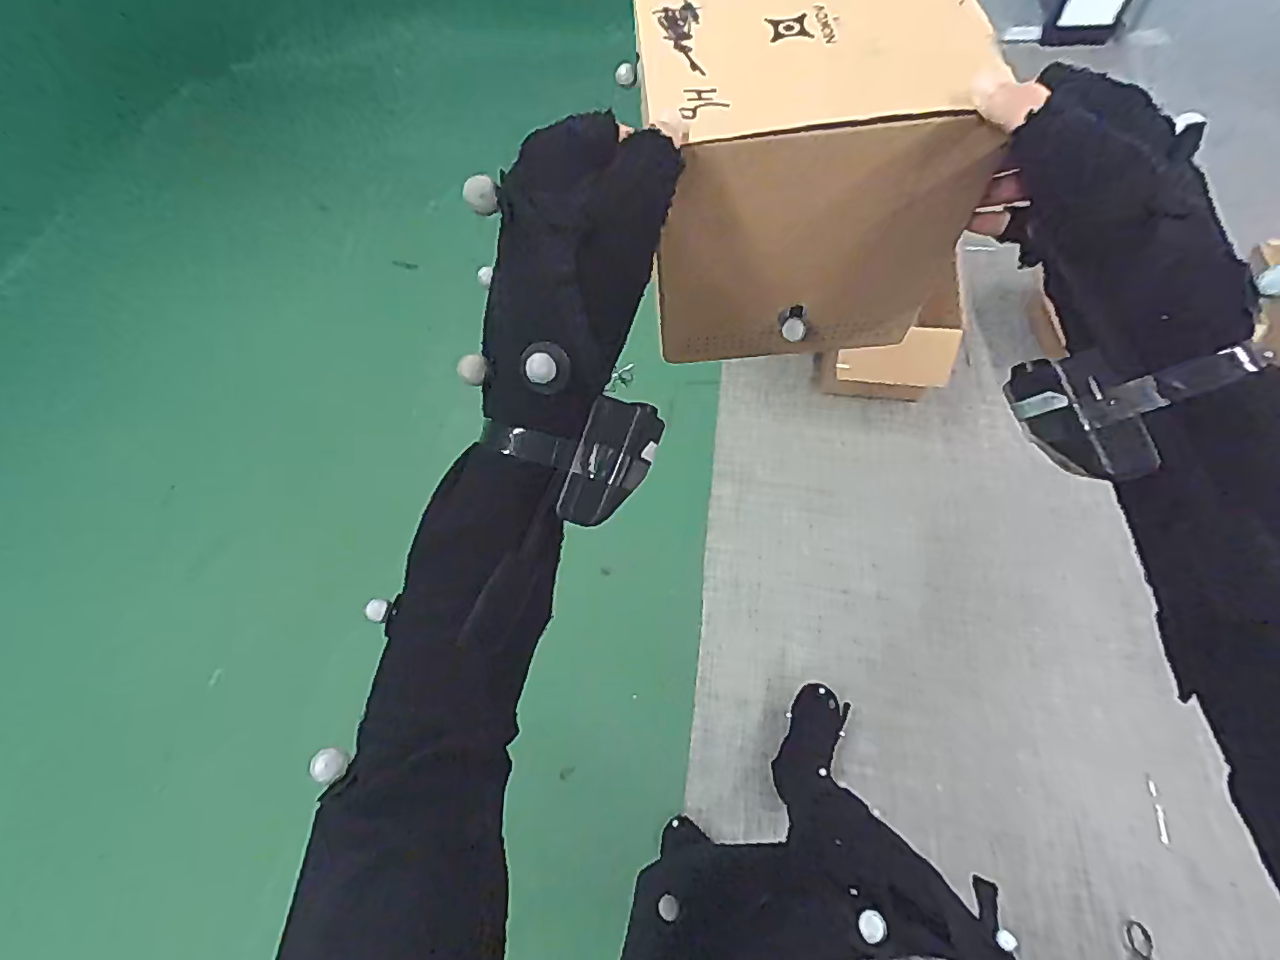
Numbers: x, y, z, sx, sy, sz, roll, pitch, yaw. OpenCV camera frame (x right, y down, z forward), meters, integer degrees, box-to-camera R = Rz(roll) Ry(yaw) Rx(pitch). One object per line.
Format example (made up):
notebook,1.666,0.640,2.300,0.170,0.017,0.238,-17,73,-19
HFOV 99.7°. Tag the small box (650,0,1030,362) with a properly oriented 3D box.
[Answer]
small box,0.099,-0.197,0.360,0.179,0.176,0.168,-4,64,3
